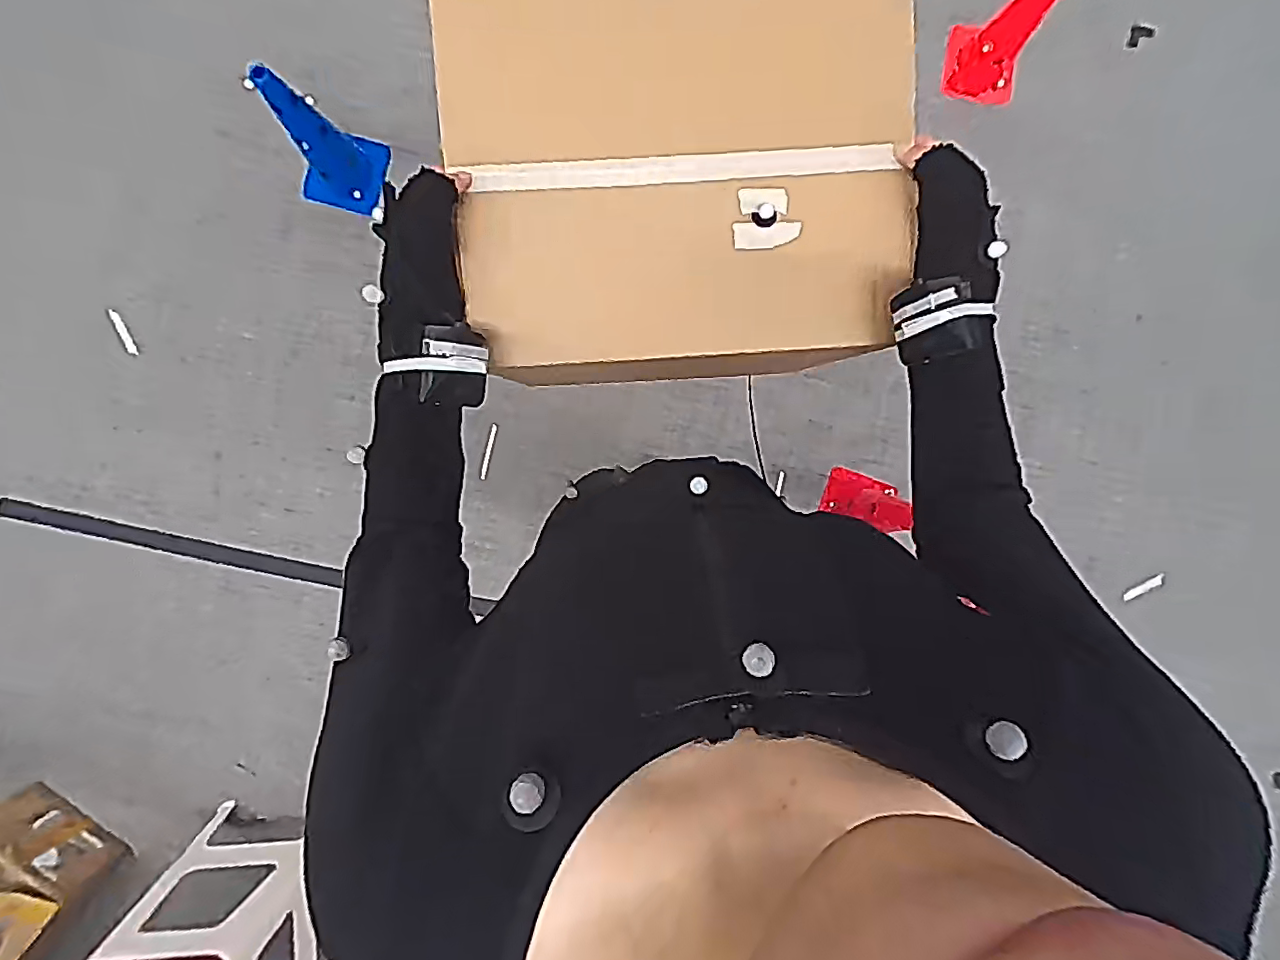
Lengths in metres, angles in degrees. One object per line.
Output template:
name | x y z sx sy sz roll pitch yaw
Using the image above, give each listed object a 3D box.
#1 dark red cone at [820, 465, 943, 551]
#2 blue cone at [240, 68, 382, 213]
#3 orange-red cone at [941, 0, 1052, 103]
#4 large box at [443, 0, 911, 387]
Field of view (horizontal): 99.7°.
dark red cone | 0.606 0.079 1.306 0.201 0.394 0.202 18 89 -1
blue cone | -0.798 -0.826 1.295 0.192 0.380 0.193 16 89 -1
orange-red cone | 0.958 -1.173 1.343 0.198 0.360 0.199 10 88 -3
large box | 0.033 -0.285 0.621 0.408 0.320 0.320 -3 97 -3
